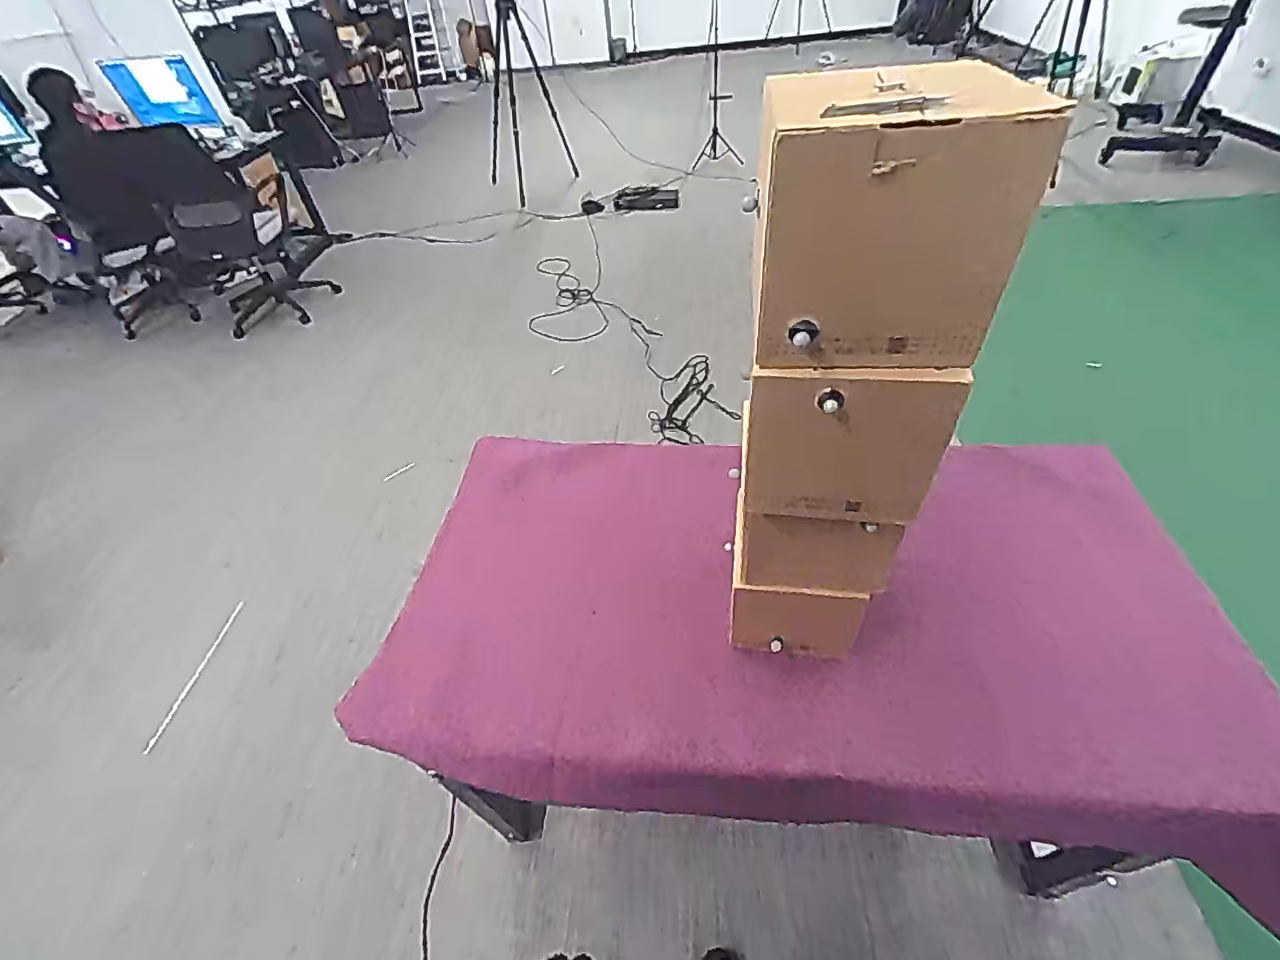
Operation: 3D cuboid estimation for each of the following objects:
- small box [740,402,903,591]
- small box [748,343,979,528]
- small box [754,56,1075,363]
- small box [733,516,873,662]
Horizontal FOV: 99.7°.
[{"bbox_3d":[0.214,0.020,0.660,0.179,0.176,0.168,2,46,10],"label":"small box"},{"bbox_3d":[0.195,-0.078,0.528,0.168,0.176,0.179,4,45,12],"label":"small box"},{"bbox_3d":[0.179,-0.204,0.422,0.168,0.176,0.179,1,45,9],"label":"small box"},{"bbox_3d":[0.222,0.134,0.774,0.168,0.176,0.179,3,47,11],"label":"small box"}]
